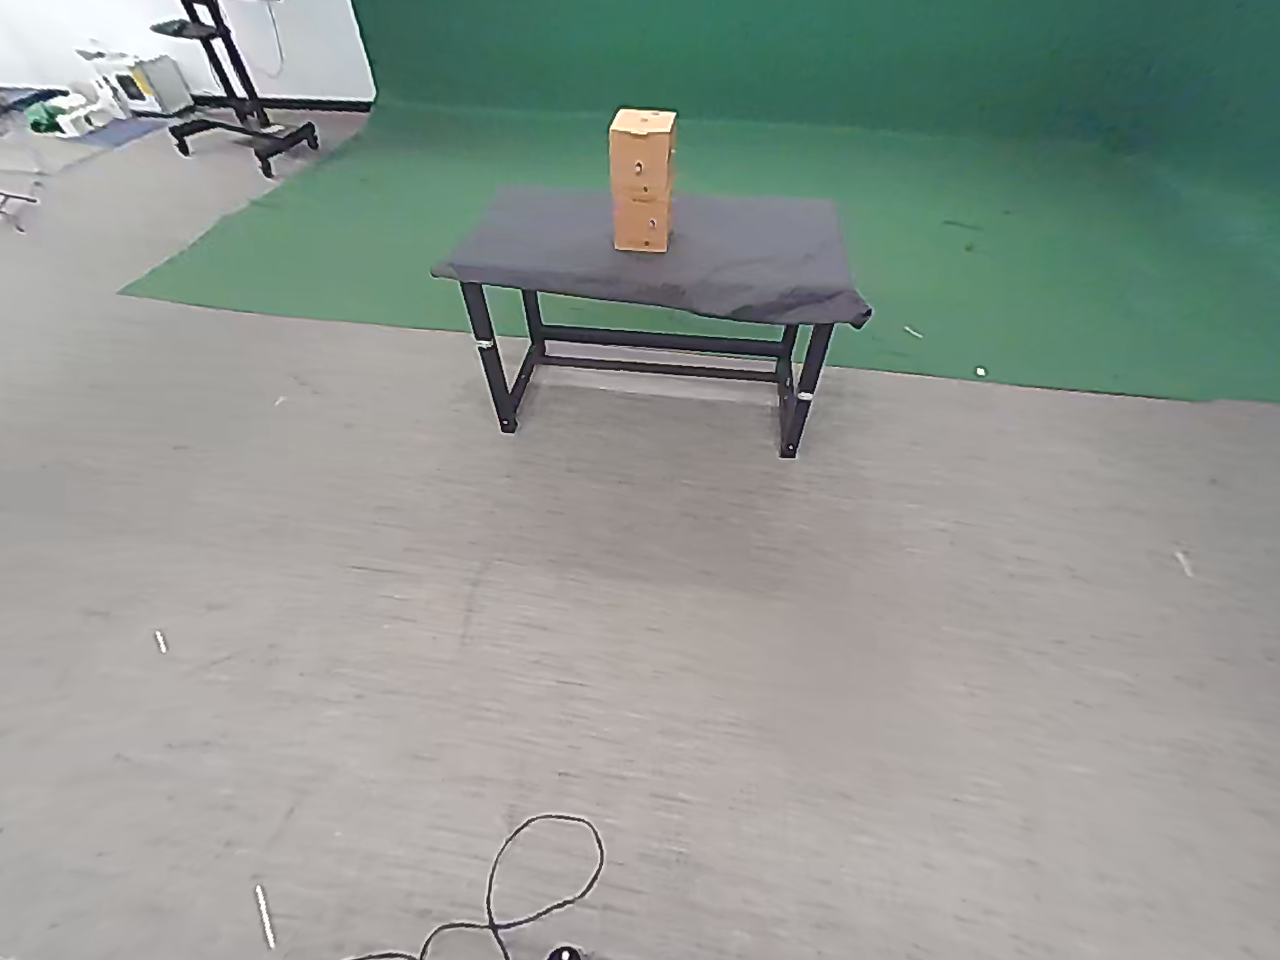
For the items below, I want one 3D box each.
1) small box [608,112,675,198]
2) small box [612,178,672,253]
[{"bbox_3d":[0.007,-0.940,1.568,0.168,0.176,0.179,7,51,4],"label":"small box"},{"bbox_3d":[0.008,-0.830,1.689,0.168,0.176,0.179,6,49,4],"label":"small box"}]
